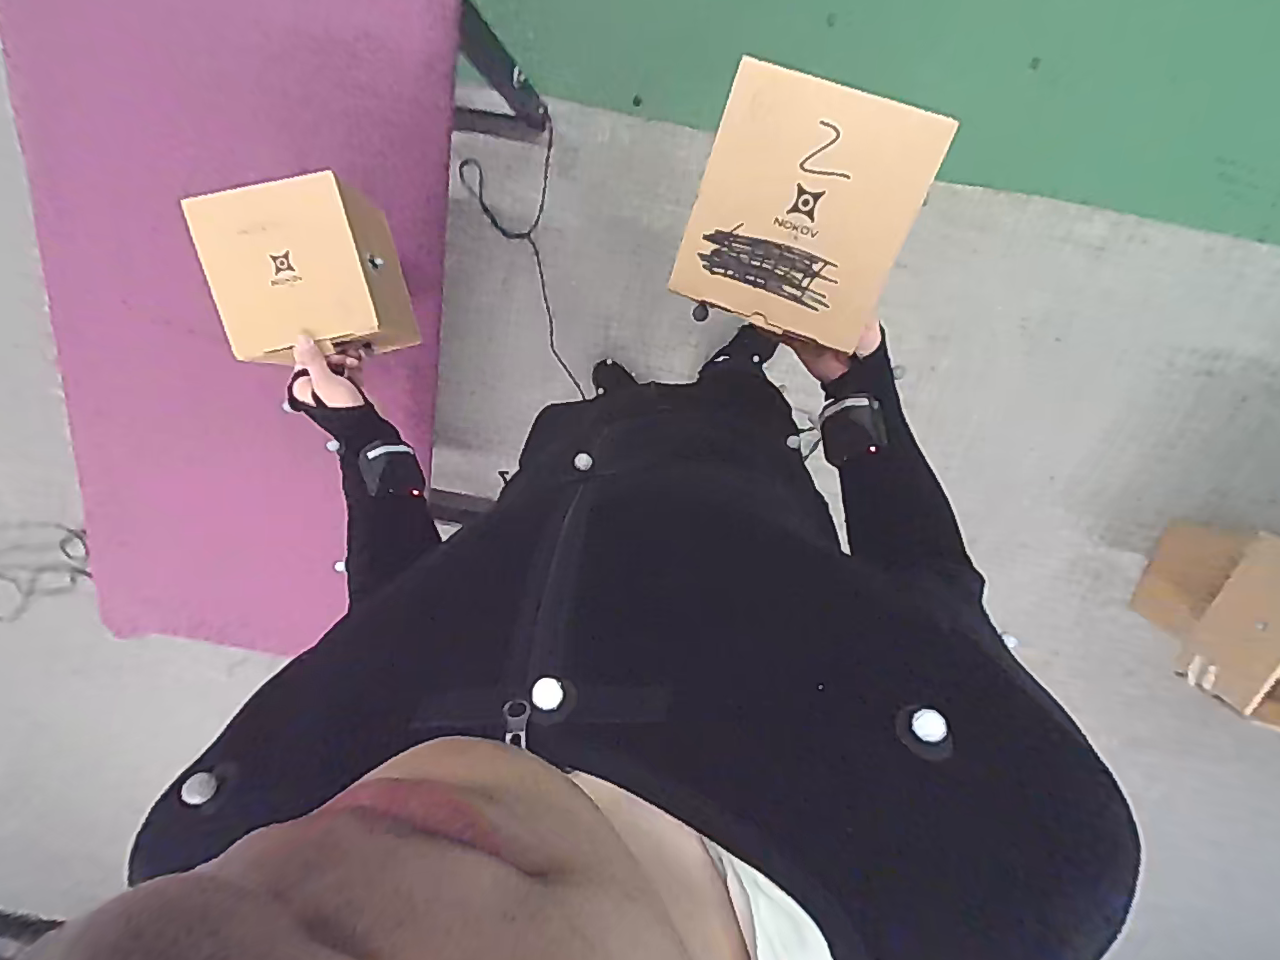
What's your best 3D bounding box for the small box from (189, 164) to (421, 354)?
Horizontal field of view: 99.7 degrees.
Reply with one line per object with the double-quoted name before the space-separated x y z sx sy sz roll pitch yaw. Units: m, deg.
"small box" -0.396 -0.259 0.678 0.168 0.176 0.179 -13 100 -4
